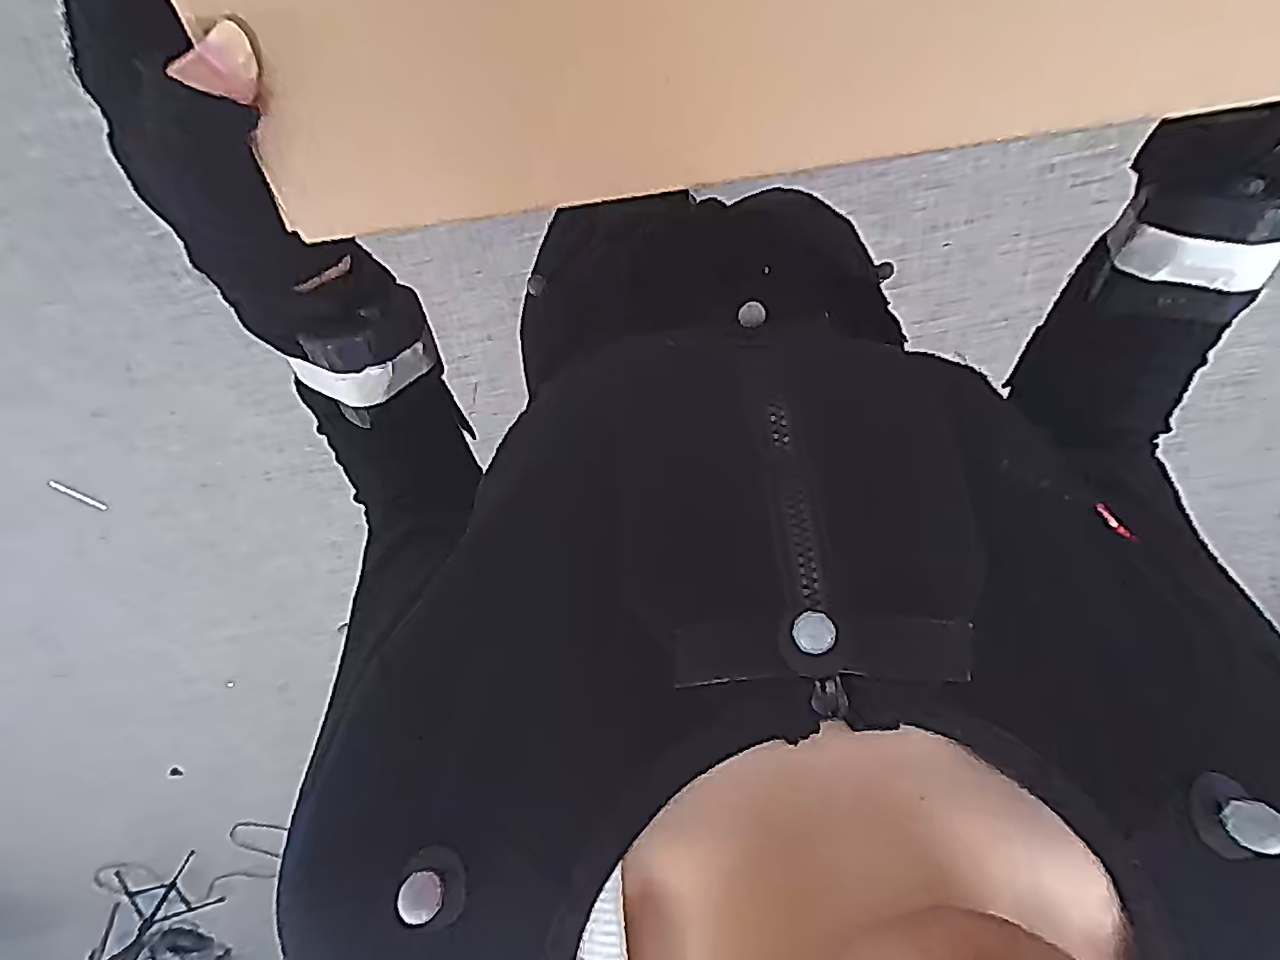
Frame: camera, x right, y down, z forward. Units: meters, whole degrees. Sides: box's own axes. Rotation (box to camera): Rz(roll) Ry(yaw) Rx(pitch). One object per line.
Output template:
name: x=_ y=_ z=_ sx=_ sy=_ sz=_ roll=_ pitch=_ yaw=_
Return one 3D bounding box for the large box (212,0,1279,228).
large box: x=0.030 y=-0.346 z=0.240 sx=0.408 sy=0.320 sz=0.320 roll=-8 pitch=131 yaw=2
